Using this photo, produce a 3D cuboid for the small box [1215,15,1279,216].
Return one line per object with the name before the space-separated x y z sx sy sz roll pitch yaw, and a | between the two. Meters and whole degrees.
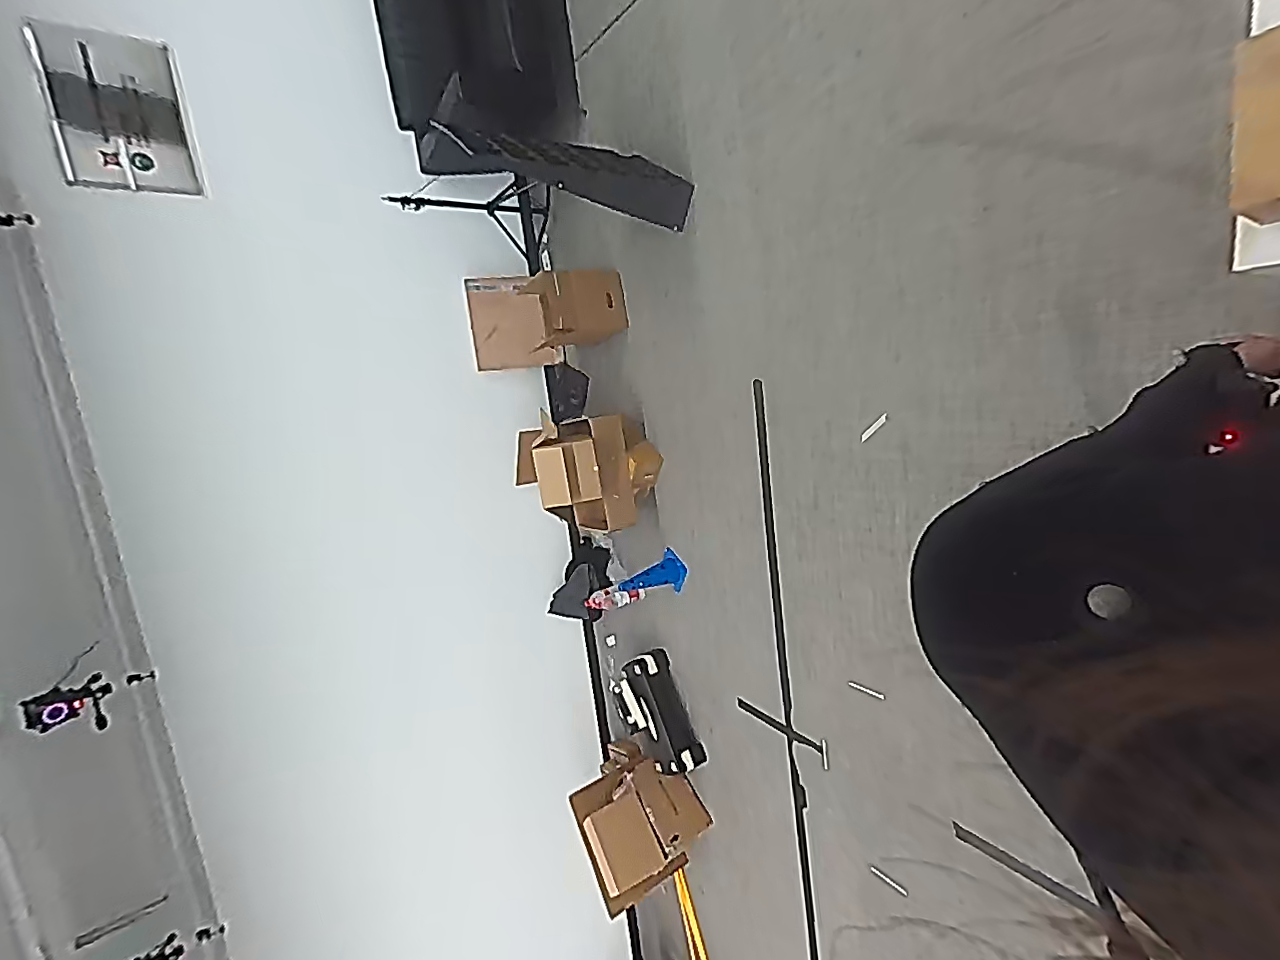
small box | 0.747 -0.397 0.567 0.168 0.176 0.179 8 107 57
